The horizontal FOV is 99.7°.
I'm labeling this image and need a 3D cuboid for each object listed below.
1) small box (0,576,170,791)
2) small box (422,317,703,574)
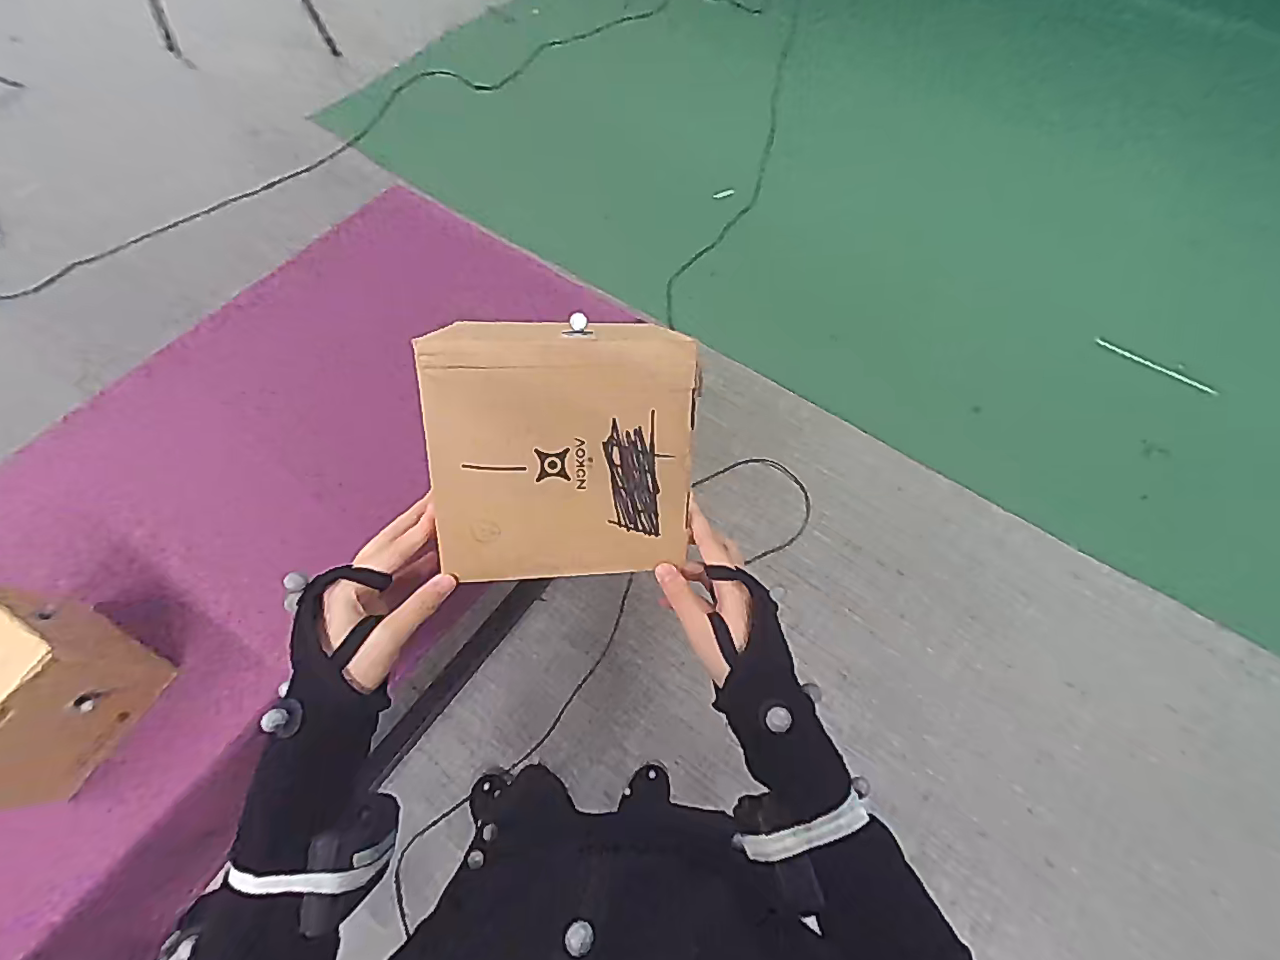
[{"bbox_3d":[-0.692,0.220,0.596,0.179,0.176,0.168,27,66,14],"label":"small box"},{"bbox_3d":[-0.060,-0.039,0.434,0.179,0.168,0.176,-1,20,-8],"label":"small box"}]
